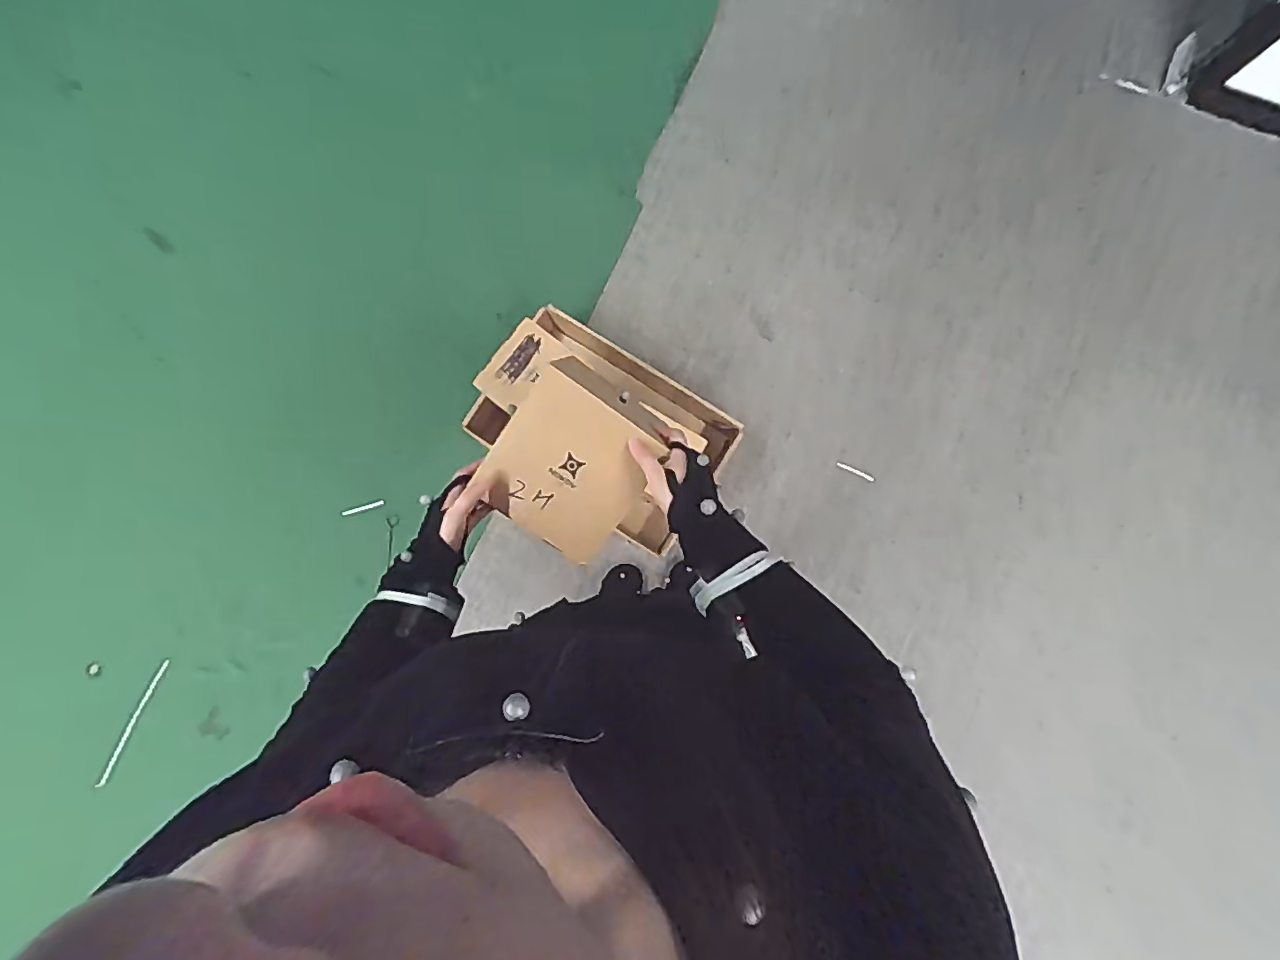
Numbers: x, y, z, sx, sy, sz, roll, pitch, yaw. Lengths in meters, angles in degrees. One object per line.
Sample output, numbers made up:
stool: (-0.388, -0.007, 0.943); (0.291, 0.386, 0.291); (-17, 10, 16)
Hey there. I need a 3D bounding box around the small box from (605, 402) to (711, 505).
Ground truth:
small box: (0.045, -0.053, 1.237); (0.179, 0.176, 0.168); (31, 87, 7)
